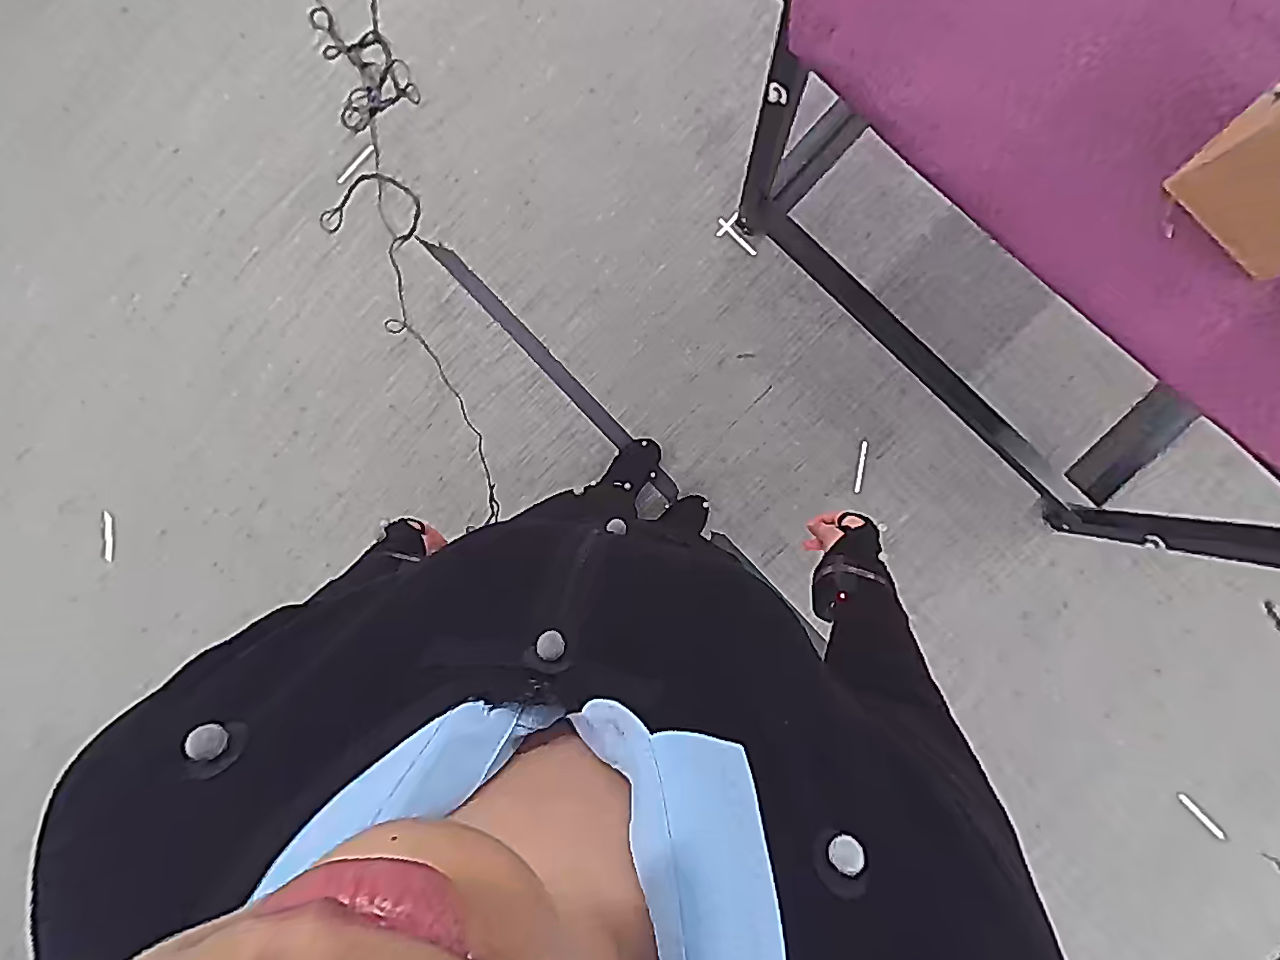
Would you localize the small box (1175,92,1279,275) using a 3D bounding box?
[{"bbox_3d":[0.787,-0.368,0.609,0.168,0.176,0.179,-42,89,4],"label":"small box"}]
